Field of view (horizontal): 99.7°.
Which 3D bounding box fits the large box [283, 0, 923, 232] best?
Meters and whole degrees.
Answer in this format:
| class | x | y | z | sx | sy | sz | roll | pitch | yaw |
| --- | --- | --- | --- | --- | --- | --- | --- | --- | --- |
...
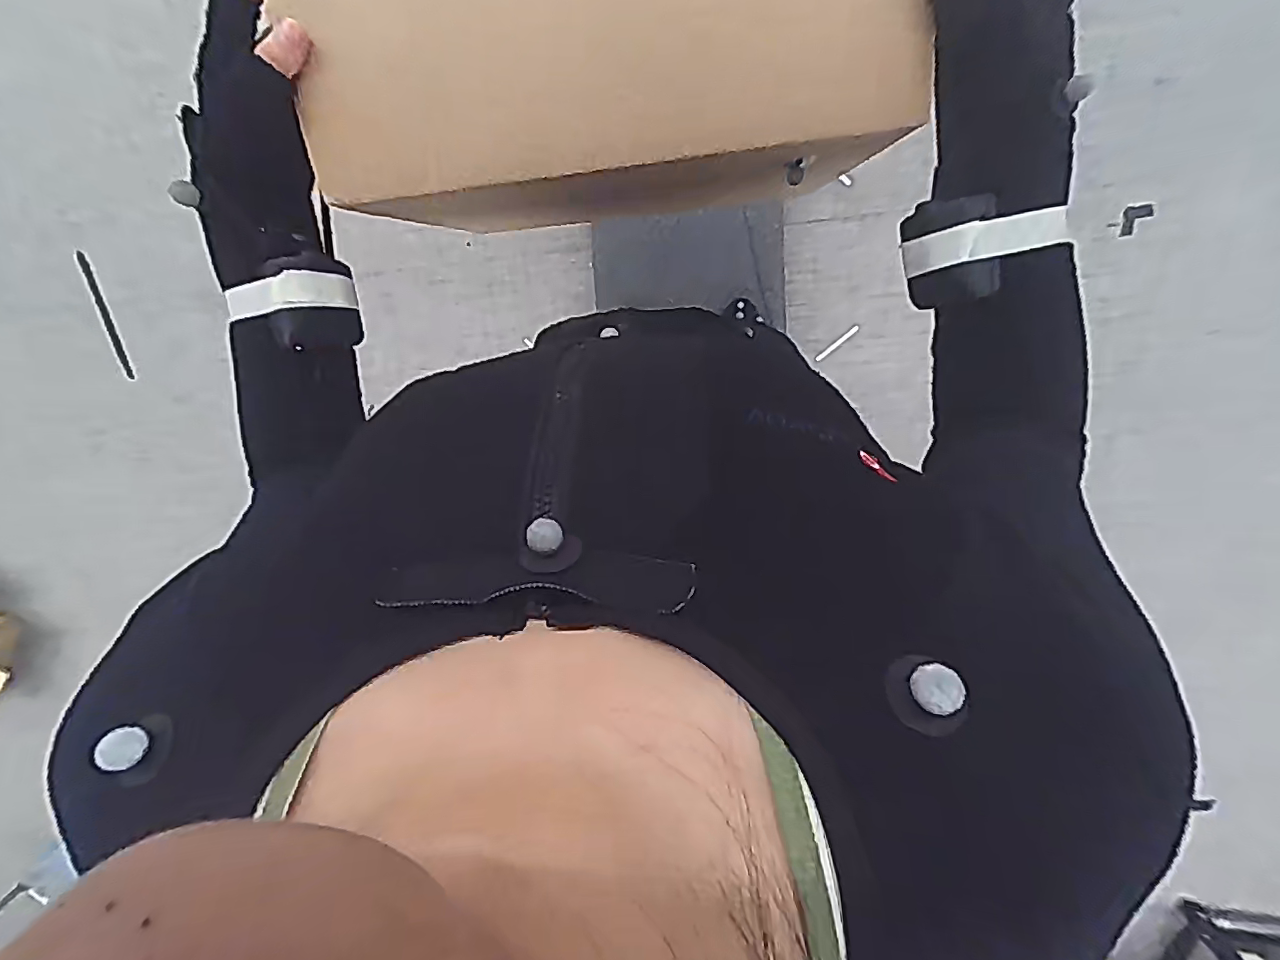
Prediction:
| class | x | y | z | sx | sy | sz | roll | pitch | yaw |
| --- | --- | --- | --- | --- | --- | --- | --- | --- | --- |
| large box | -0.024 | -0.406 | 0.455 | 0.408 | 0.320 | 0.320 | -5 | 110 | 5 |
